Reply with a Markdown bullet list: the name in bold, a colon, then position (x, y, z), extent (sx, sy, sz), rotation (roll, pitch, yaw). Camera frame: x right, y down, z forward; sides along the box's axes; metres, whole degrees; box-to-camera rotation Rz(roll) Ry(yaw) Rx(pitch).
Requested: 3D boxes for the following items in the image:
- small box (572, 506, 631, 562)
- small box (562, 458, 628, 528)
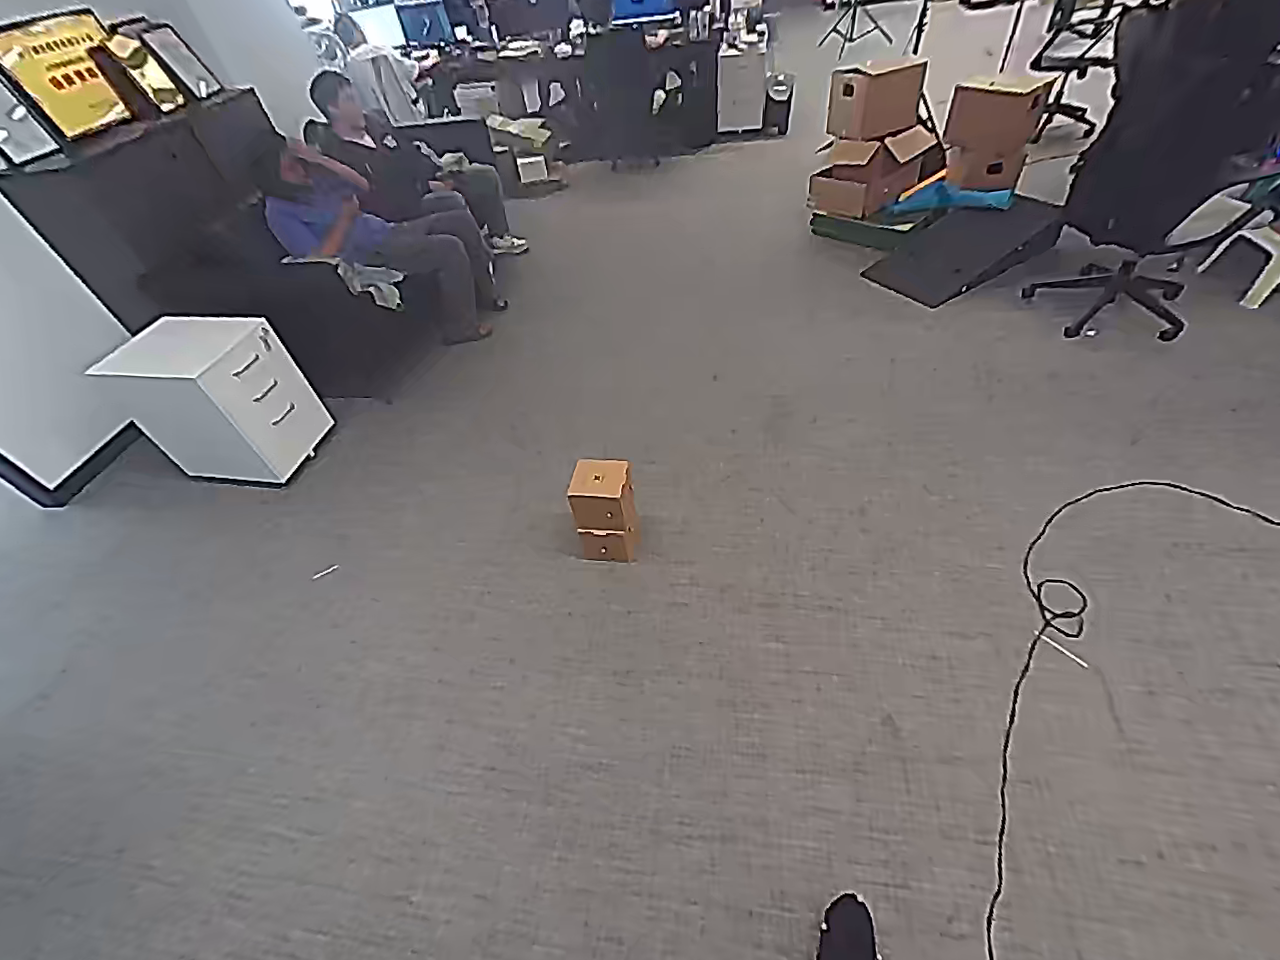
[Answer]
- **small box**: position (-0.130, 0.173, 1.908), extent (0.168, 0.176, 0.179), rotation (1, 47, 10)
- **small box**: position (-0.140, 0.045, 1.779), extent (0.179, 0.176, 0.168), rotation (2, 46, 11)
